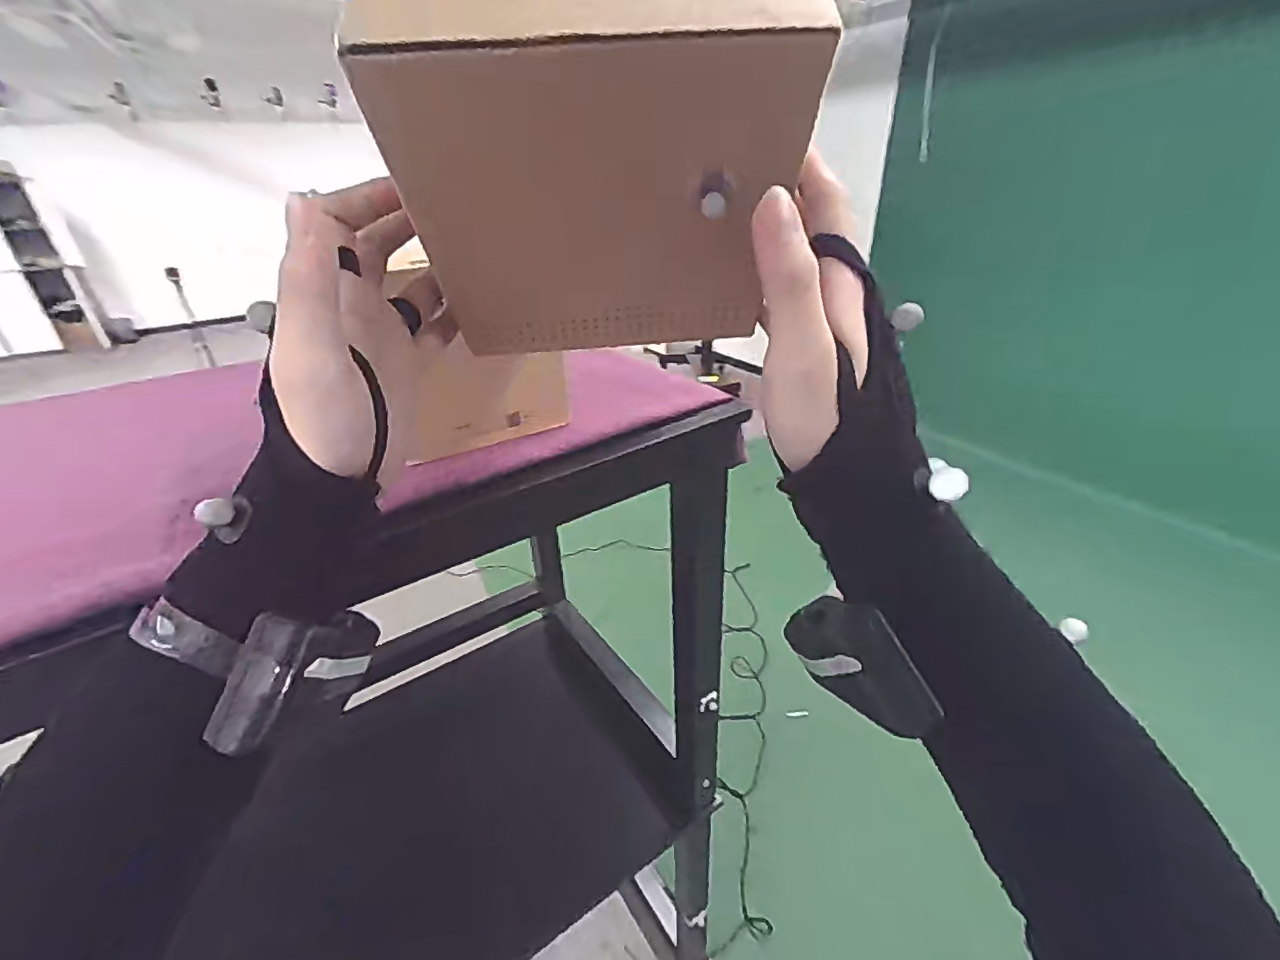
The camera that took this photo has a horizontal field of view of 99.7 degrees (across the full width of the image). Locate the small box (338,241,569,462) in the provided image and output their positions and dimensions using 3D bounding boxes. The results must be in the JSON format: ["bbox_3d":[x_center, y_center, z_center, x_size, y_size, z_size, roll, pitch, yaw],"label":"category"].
[{"bbox_3d":[-0.184,-0.138,0.544,0.168,0.176,0.179,-19,34,-24],"label":"small box"}]
